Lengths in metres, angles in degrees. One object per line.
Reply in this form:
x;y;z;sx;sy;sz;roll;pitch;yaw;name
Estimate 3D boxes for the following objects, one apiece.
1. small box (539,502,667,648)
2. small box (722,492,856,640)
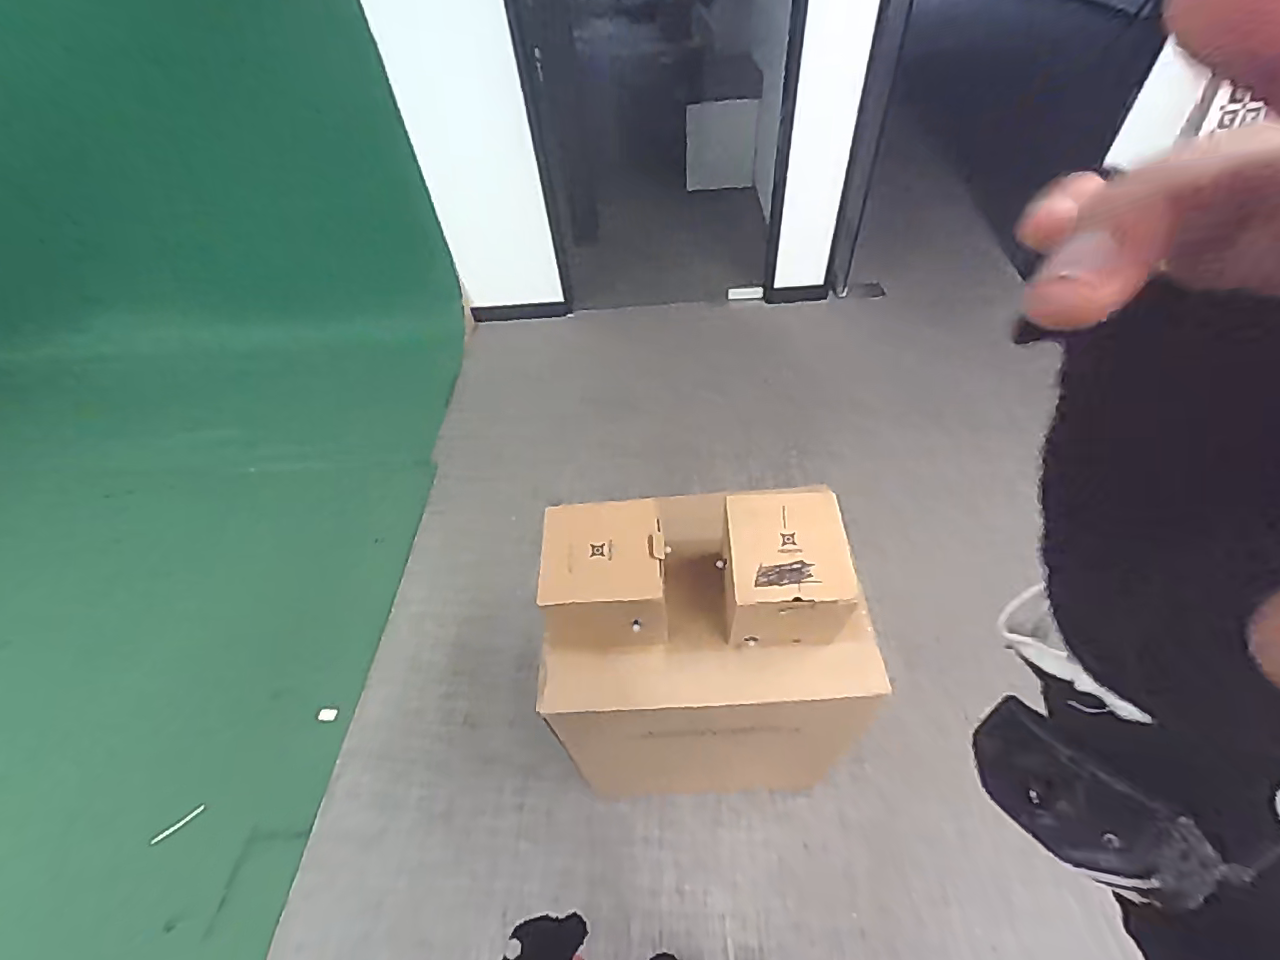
-0.048;0.154;0.854;0.179;0.176;0.168;-5;52;4;small box
0.216;0.139;0.833;0.168;0.176;0.179;-2;53;4;small box
